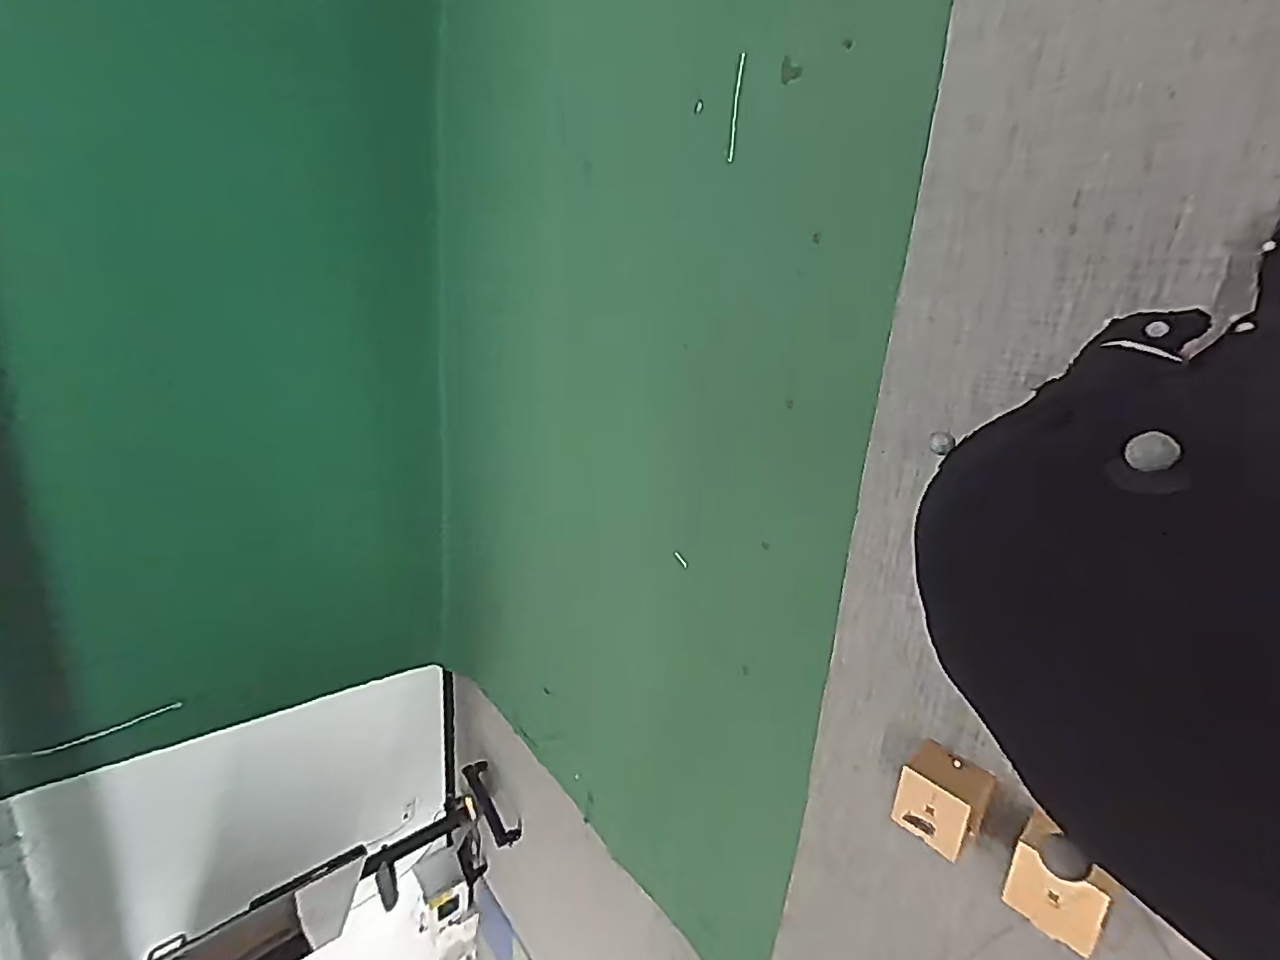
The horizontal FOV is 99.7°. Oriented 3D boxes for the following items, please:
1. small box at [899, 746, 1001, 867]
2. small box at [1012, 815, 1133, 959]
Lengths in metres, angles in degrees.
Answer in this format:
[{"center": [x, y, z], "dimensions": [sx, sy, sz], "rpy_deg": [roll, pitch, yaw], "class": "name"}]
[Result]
[{"center": [0.809, 0.840, 1.409], "dimensions": [0.168, 0.176, 0.179], "rpy_deg": [20, 110, 47], "class": "small box"}, {"center": [0.977, 0.909, 1.219], "dimensions": [0.168, 0.176, 0.179], "rpy_deg": [19, 110, 48], "class": "small box"}]
